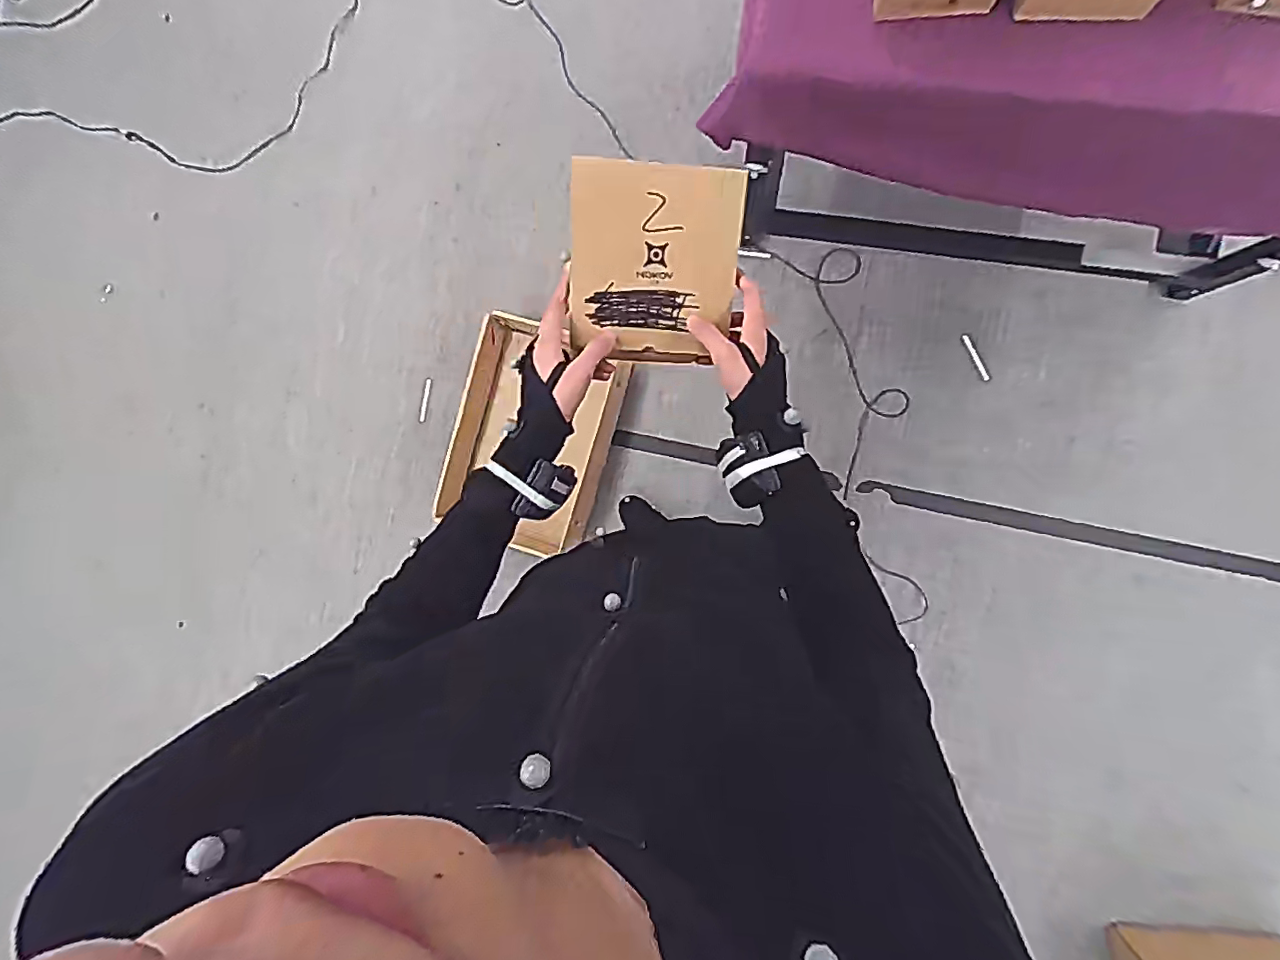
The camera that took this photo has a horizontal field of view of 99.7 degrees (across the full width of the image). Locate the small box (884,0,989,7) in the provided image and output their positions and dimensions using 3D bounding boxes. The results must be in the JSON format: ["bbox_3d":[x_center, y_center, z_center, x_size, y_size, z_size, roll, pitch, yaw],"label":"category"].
[{"bbox_3d":[0.431,-0.785,0.728,0.168,0.176,0.179,3,92,8],"label":"small box"}]
